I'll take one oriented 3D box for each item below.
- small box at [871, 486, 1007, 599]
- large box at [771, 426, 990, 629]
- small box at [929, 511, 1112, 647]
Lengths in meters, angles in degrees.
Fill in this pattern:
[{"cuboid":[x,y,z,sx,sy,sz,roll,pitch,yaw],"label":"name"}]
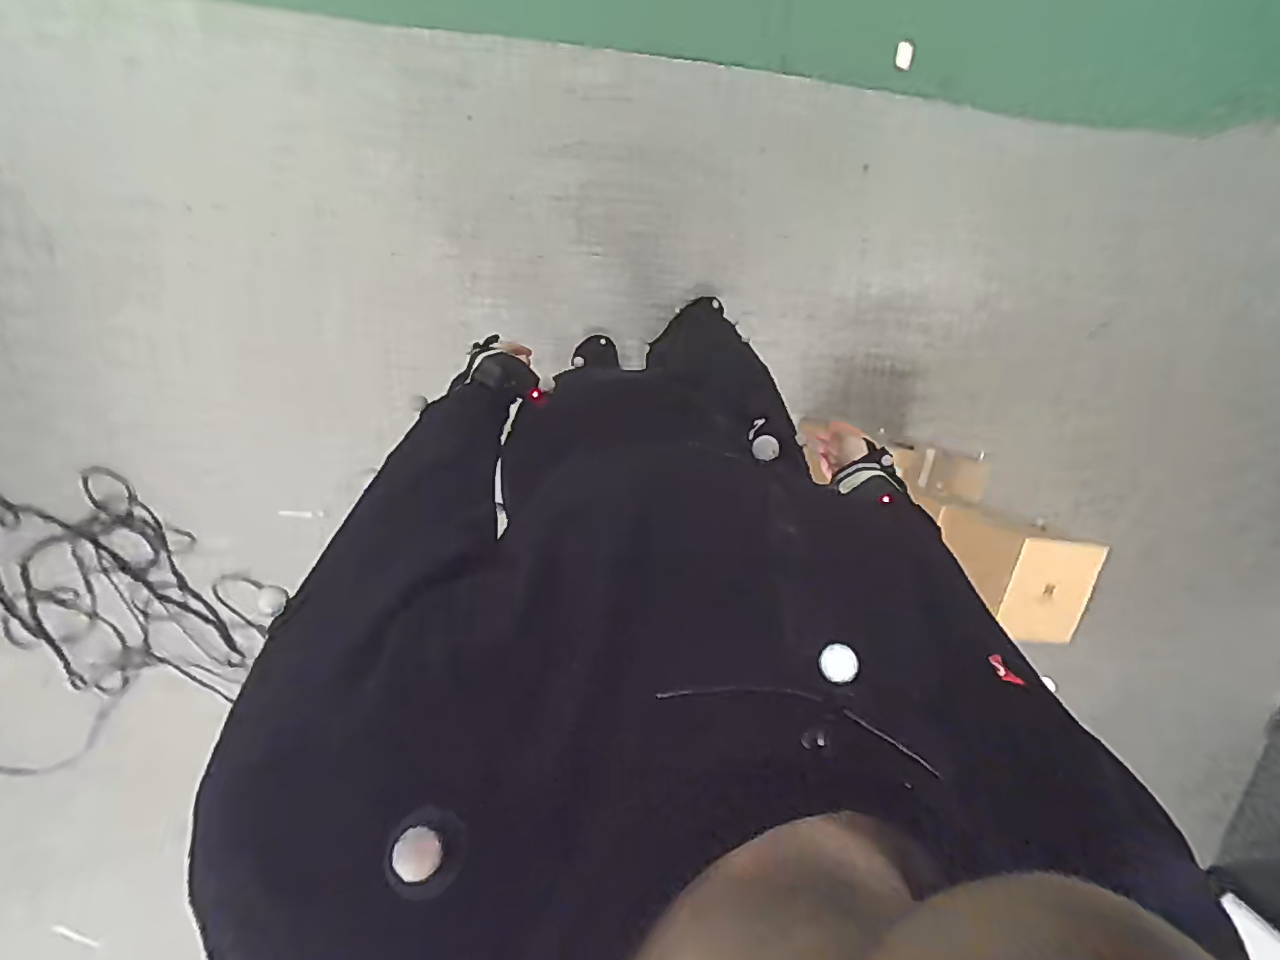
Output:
[{"cuboid":[0.594,0.125,1.080,0.168,0.176,0.179,7,103,-13],"label":"small box"},{"cuboid":[0.555,0.102,1.322,0.320,0.320,0.408,7,105,-10],"label":"large box"},{"cuboid":[0.636,0.163,0.927,0.168,0.176,0.179,7,104,-12],"label":"small box"}]
